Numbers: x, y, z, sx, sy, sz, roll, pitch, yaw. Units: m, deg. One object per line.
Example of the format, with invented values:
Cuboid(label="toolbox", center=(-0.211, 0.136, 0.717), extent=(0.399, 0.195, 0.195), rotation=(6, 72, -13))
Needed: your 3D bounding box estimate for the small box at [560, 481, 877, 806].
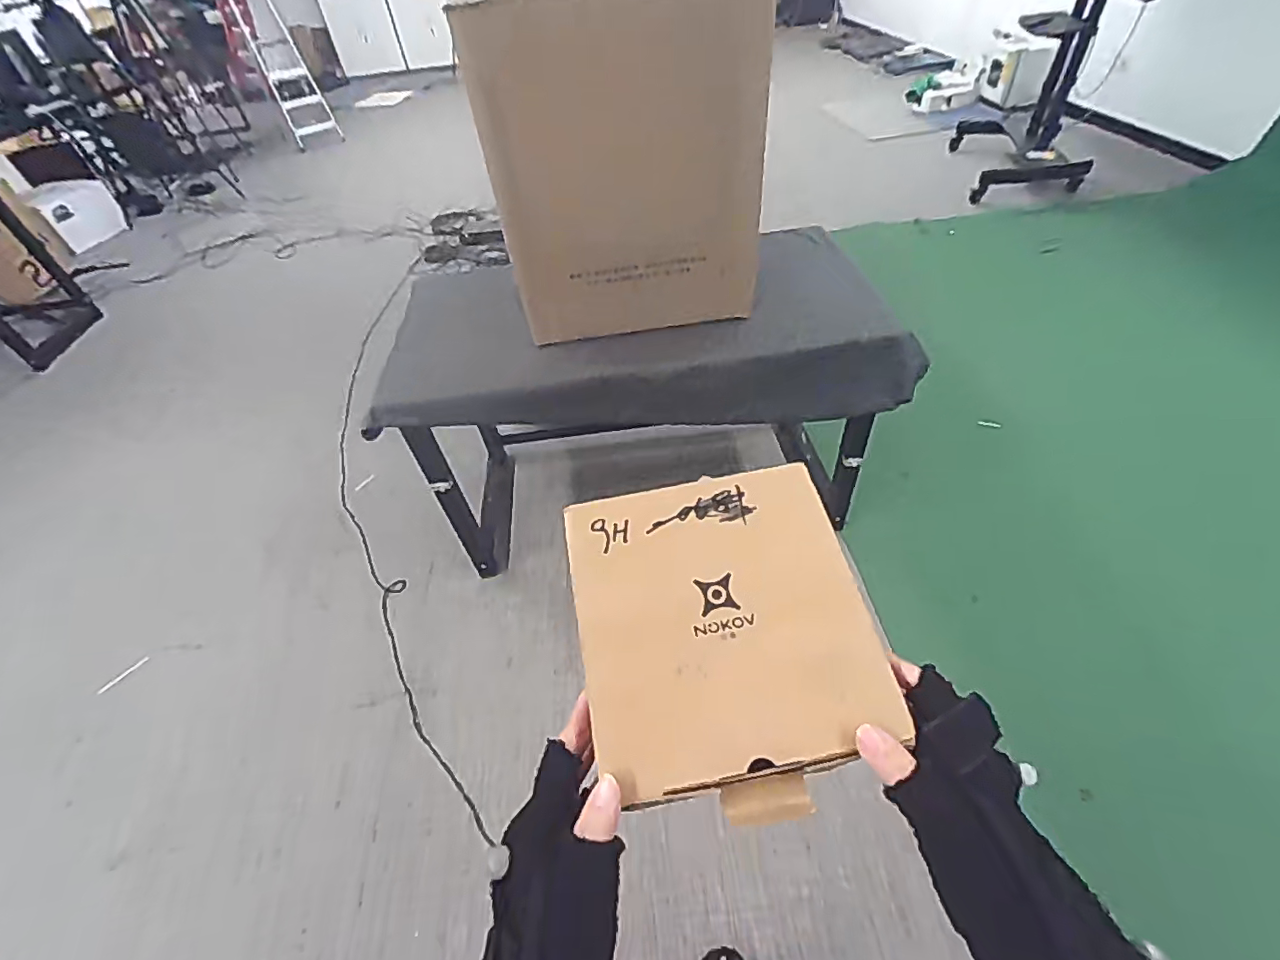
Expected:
Cuboid(label="small box", center=(0.046, 0.130, 0.411), extent=(0.168, 0.176, 0.179), rotation=(-13, 58, -3))
